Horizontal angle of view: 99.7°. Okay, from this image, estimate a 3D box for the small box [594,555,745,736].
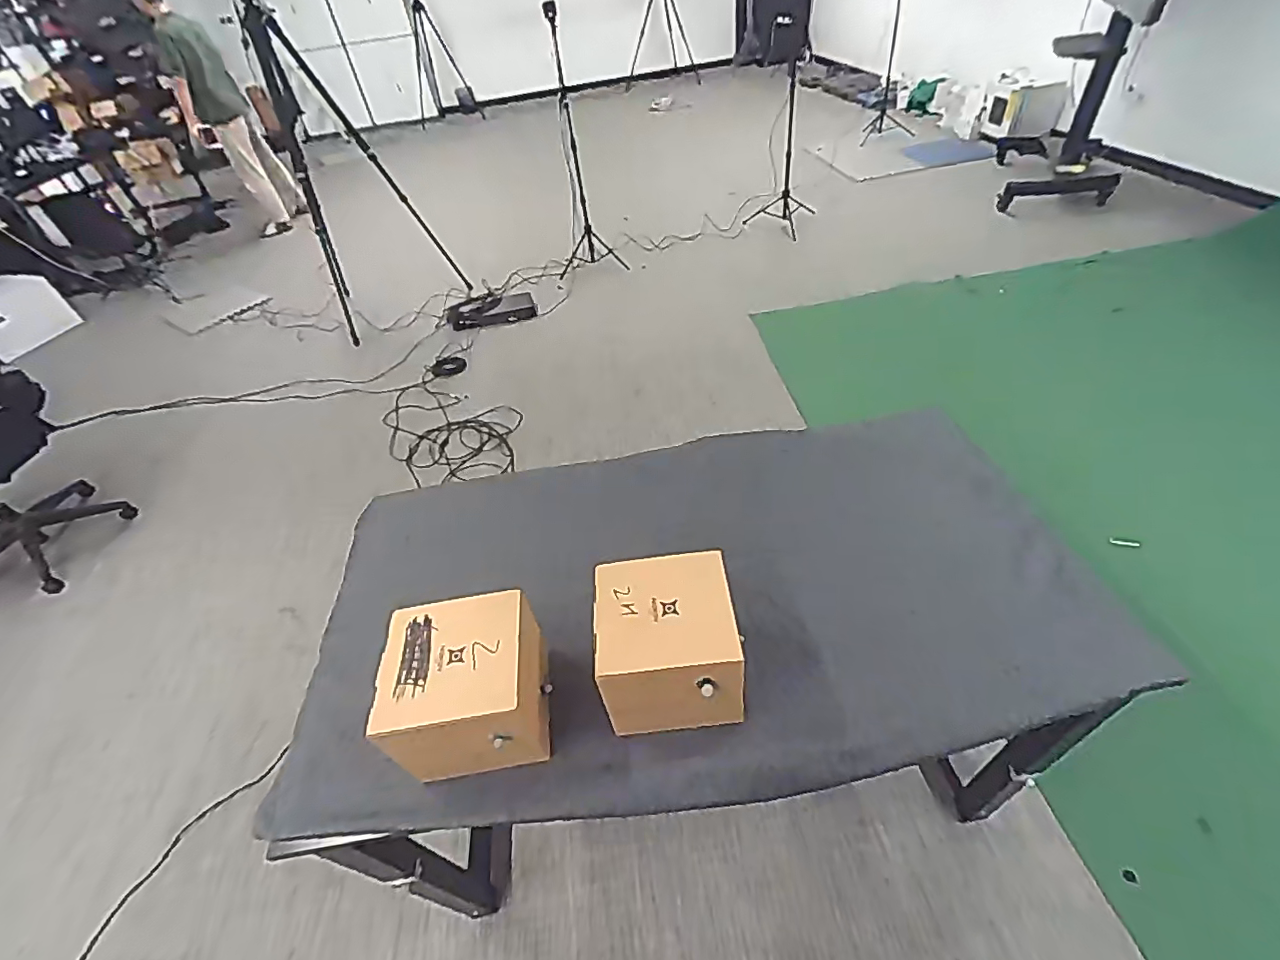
[{"bbox_3d":[0.040,0.224,0.729,0.179,0.176,0.168,-8,42,4],"label":"small box"}]
